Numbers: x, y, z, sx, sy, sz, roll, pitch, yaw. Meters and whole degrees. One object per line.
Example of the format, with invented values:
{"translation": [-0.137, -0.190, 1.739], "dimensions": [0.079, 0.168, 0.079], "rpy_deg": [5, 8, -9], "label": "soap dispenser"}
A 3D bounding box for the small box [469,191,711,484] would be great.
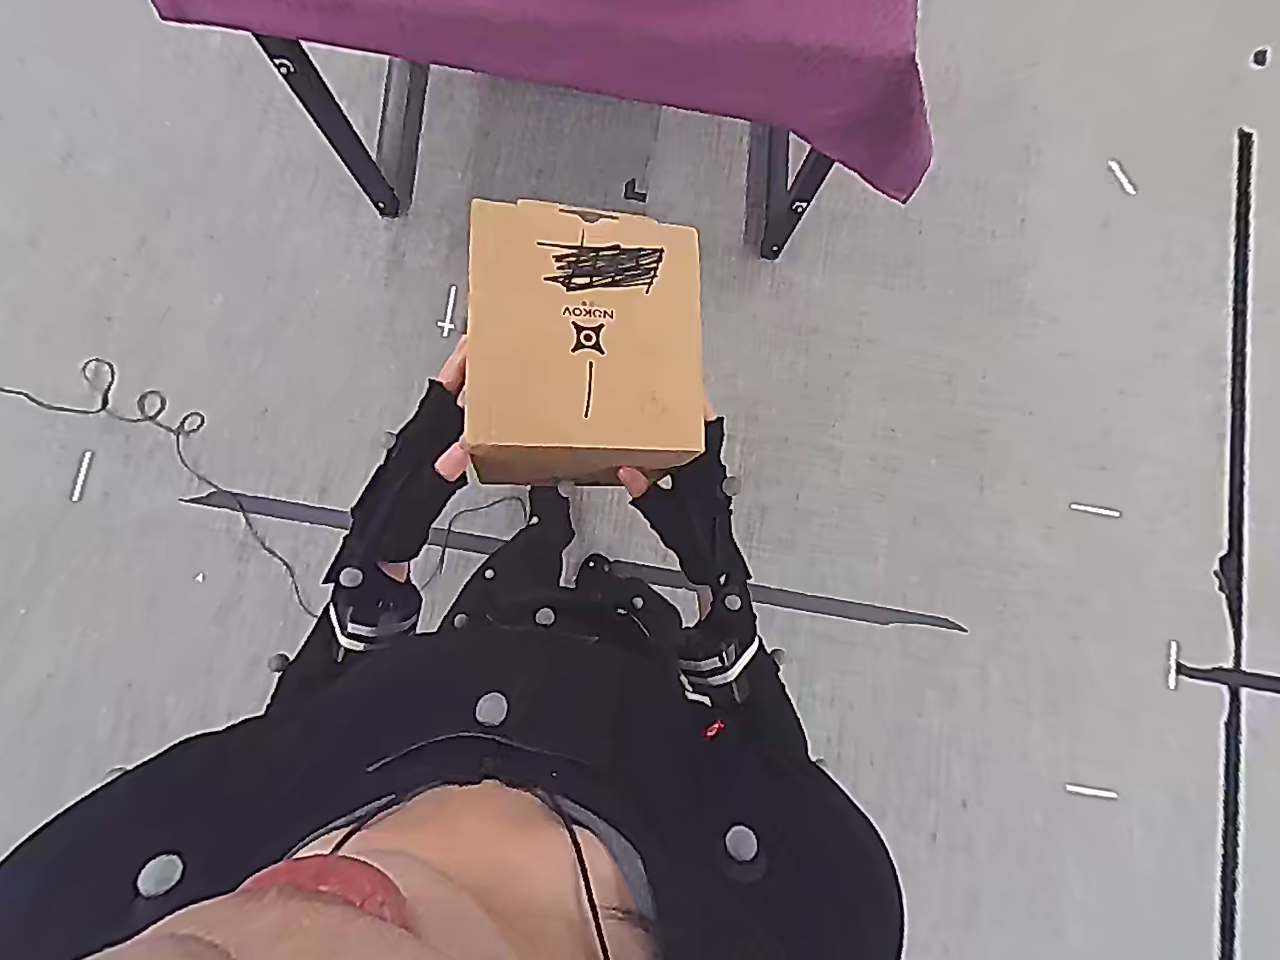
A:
{"translation": [-0.049, -0.099, 0.452], "dimensions": [0.168, 0.176, 0.179], "rpy_deg": [1, 79, -12], "label": "small box"}
